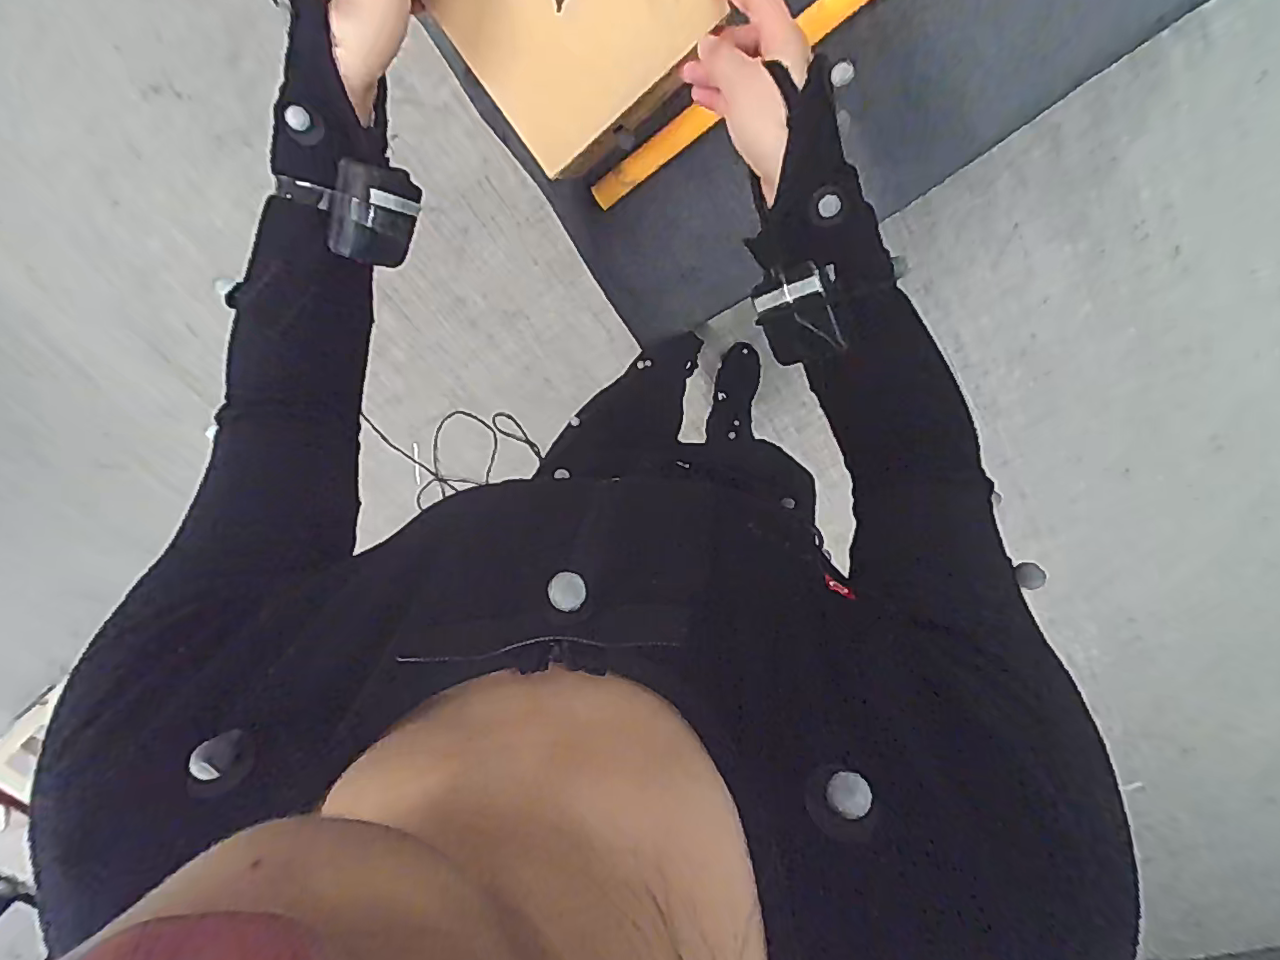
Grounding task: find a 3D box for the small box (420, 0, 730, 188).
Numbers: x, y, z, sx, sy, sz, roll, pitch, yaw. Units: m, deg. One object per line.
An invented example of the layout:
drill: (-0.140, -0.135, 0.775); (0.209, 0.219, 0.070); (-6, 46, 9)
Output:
small box: (-0.046, -0.367, 0.429); (0.168, 0.176, 0.179); (-32, 112, 20)
